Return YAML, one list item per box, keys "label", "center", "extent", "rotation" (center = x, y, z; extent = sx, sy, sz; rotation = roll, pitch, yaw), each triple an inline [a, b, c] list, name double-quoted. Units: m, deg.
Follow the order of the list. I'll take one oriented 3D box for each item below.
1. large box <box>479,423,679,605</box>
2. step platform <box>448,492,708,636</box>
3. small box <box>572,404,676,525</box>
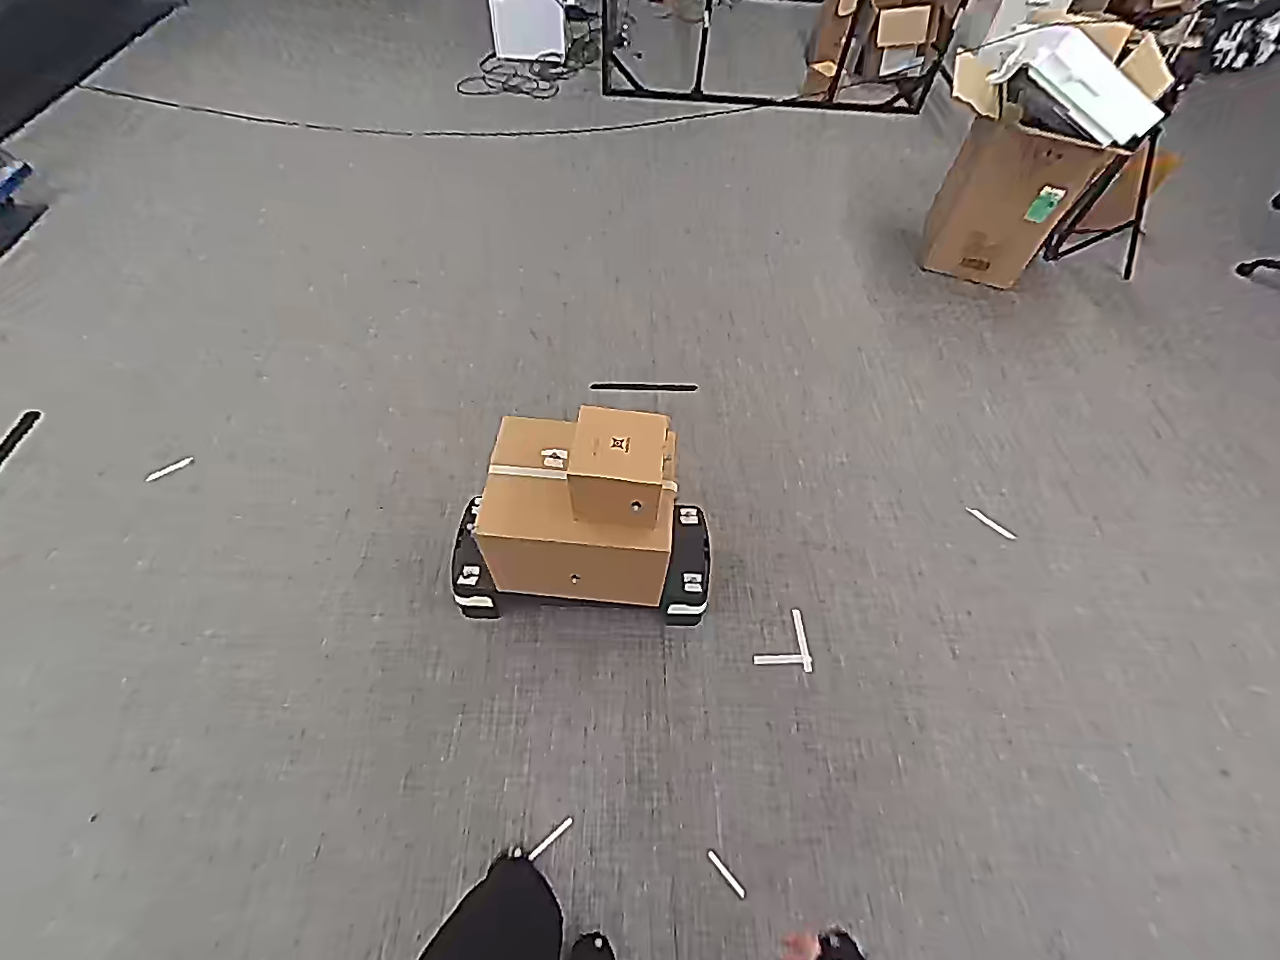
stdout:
- label: "large box"
  center: [-0.120, 0.089, 1.282]
  extent: [0.408, 0.320, 0.320]
  rotation: [4, 55, 1]
- label: "step platform"
  center: [-0.158, 0.223, 1.477]
  extent: [0.684, 0.204, 0.286]
  rotation: [6, 56, 2]
- label: "small box"
  center: [-0.029, -0.024, 1.068]
  extent: [0.179, 0.176, 0.168]
  rotation: [7, 56, 2]
